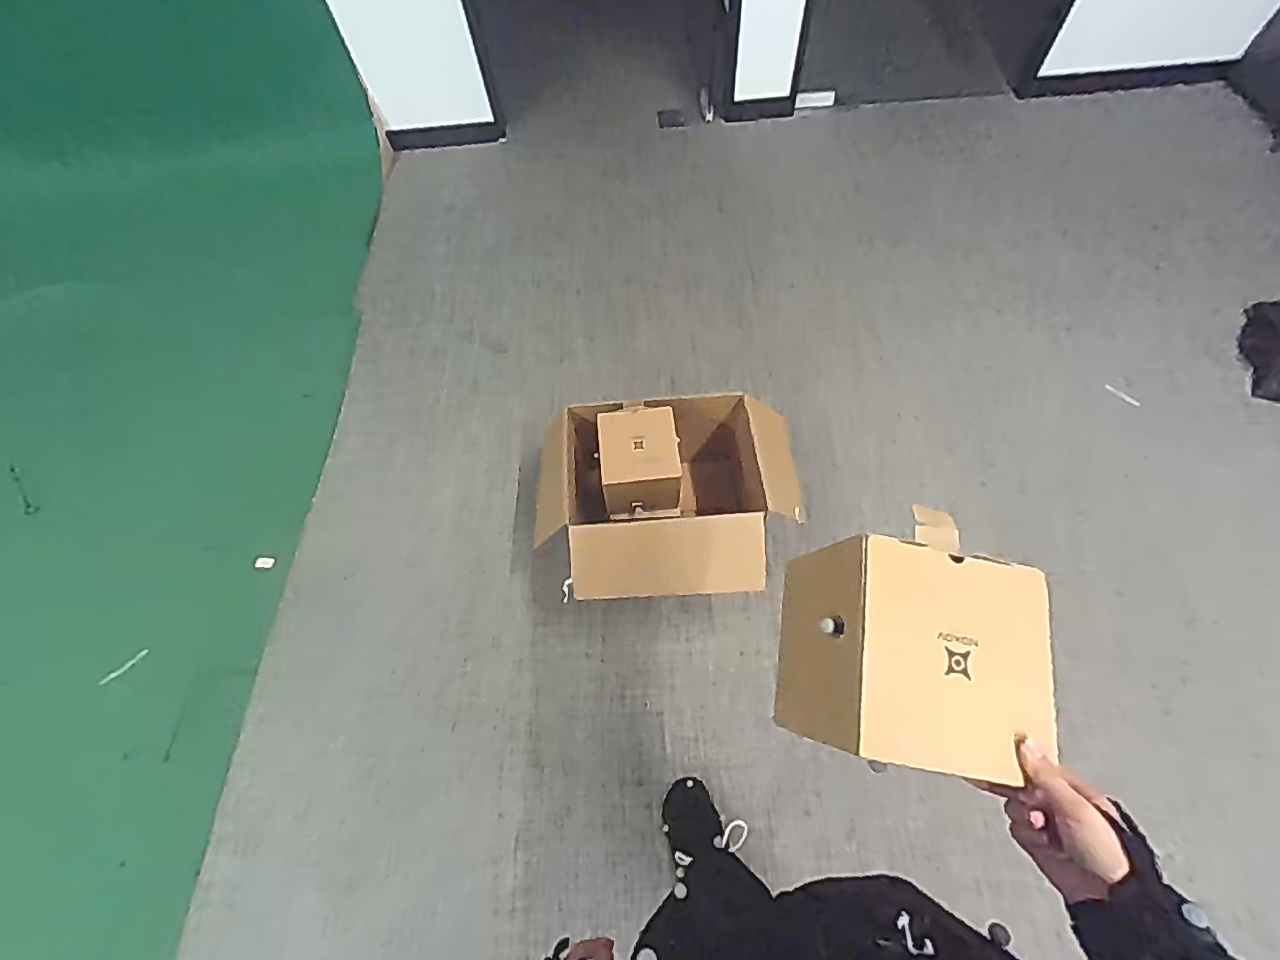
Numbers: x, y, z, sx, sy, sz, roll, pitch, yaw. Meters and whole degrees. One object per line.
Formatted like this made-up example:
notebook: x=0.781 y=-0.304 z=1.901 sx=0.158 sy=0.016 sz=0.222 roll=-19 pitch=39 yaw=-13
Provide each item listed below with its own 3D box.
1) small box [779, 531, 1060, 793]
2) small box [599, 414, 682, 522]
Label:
small box: x=0.239 y=0.163 z=0.503 sx=0.168 sy=0.176 sz=0.179 roll=12 pitch=70 yaw=-4
small box: x=-0.001 y=-0.023 z=1.198 sx=0.168 sy=0.176 sz=0.179 roll=-6 pitch=63 yaw=-1
